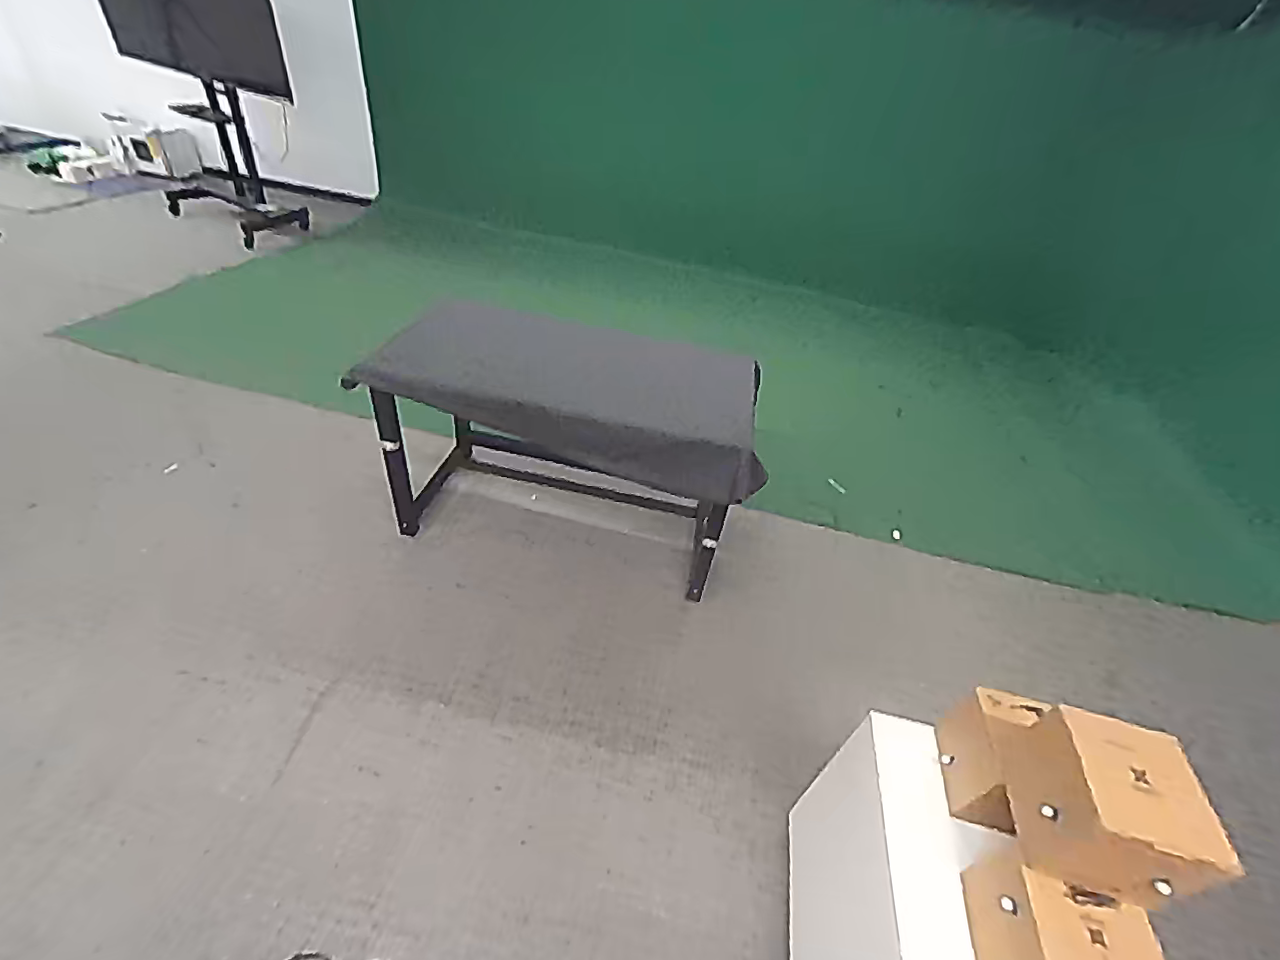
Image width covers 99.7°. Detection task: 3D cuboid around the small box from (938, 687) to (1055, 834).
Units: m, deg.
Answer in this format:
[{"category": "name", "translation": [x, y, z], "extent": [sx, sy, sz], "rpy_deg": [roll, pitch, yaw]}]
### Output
[{"category": "small box", "translation": [0.665, 0.510, 0.967], "extent": [0.168, 0.176, 0.179], "rpy_deg": [14, 41, 5]}]

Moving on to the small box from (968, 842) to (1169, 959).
[{"category": "small box", "translation": [0.600, 0.663, 0.768], "extent": [0.168, 0.176, 0.179], "rpy_deg": [14, 40, 7]}]

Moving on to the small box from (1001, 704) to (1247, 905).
[{"category": "small box", "translation": [0.658, 0.461, 0.768], "extent": [0.168, 0.176, 0.179], "rpy_deg": [15, 38, 6]}]
